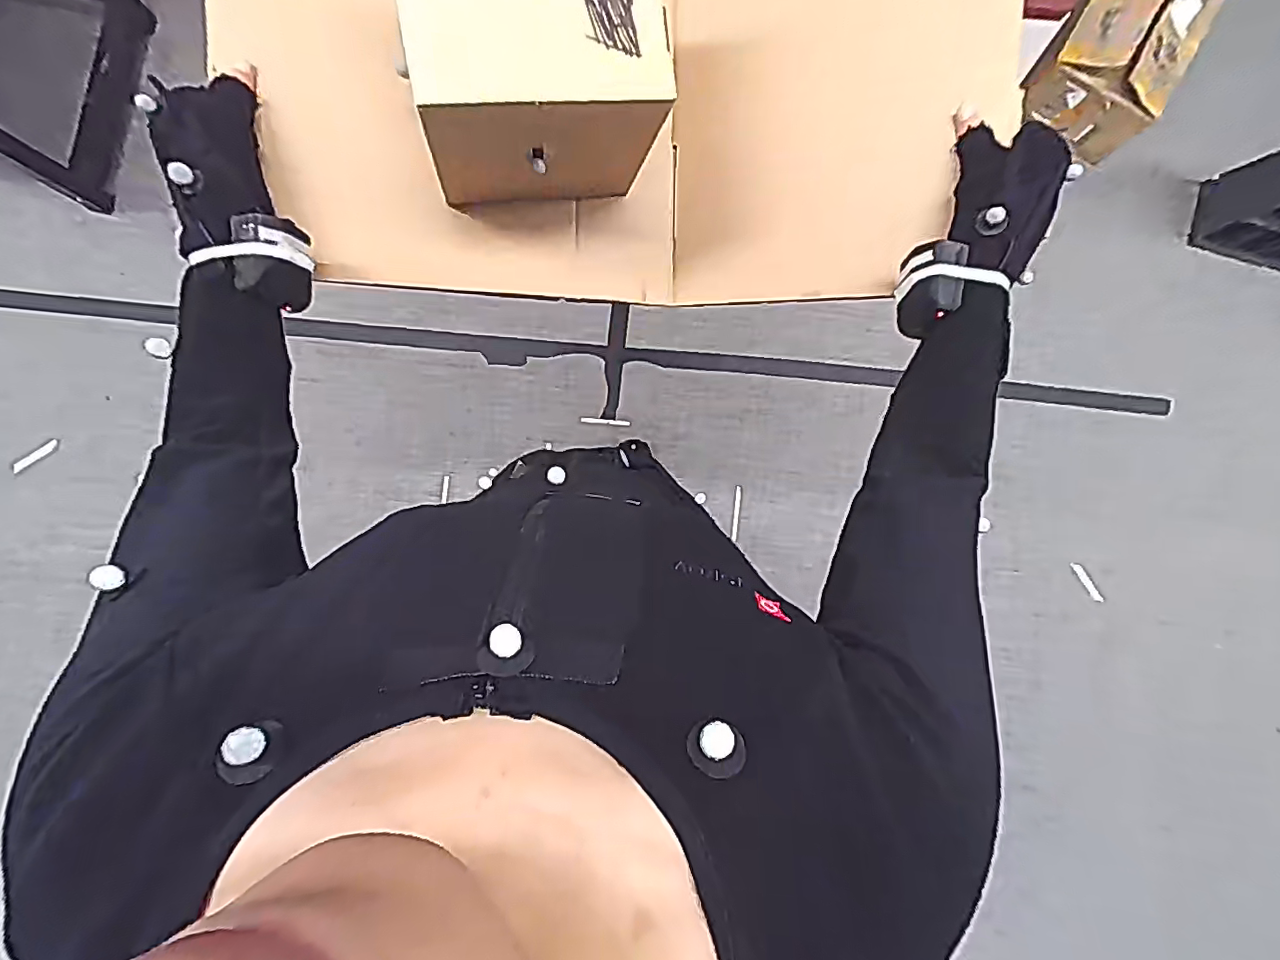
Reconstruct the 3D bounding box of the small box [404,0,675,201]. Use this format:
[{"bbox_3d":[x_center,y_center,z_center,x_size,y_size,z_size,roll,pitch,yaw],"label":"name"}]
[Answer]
[{"bbox_3d":[-0.085,-0.343,0.434,0.179,0.176,0.168,-9,99,-11],"label":"small box"}]
